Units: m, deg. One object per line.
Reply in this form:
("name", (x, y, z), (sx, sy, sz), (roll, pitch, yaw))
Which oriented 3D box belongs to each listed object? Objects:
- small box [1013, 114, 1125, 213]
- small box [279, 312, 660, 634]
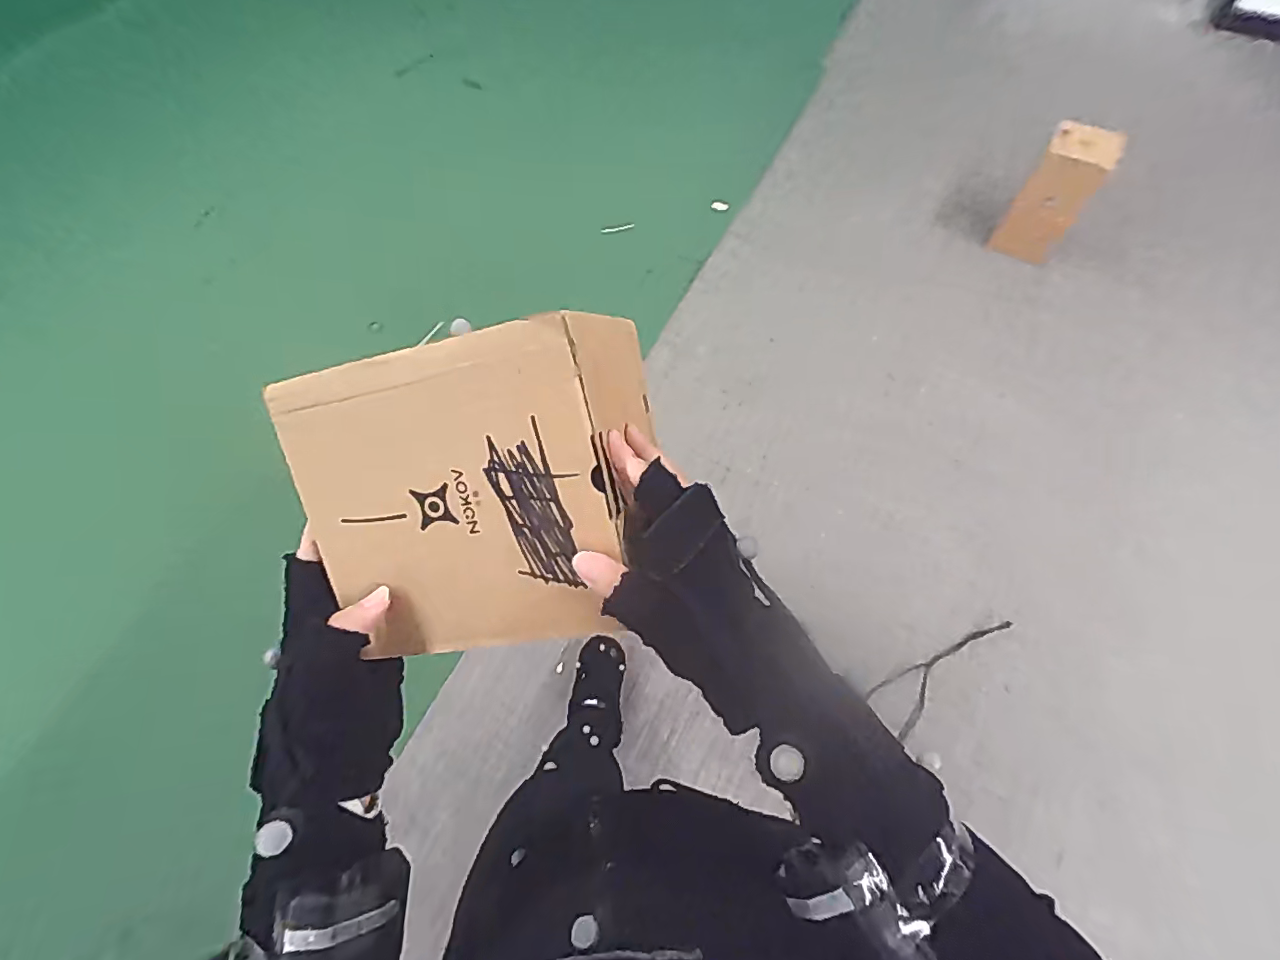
("small box", (1.253, -0.922, 1.588), (0.179, 0.176, 0.168), (29, 70, 13))
("small box", (-0.085, -0.014, 0.366), (0.179, 0.176, 0.168), (-6, 101, 12))
